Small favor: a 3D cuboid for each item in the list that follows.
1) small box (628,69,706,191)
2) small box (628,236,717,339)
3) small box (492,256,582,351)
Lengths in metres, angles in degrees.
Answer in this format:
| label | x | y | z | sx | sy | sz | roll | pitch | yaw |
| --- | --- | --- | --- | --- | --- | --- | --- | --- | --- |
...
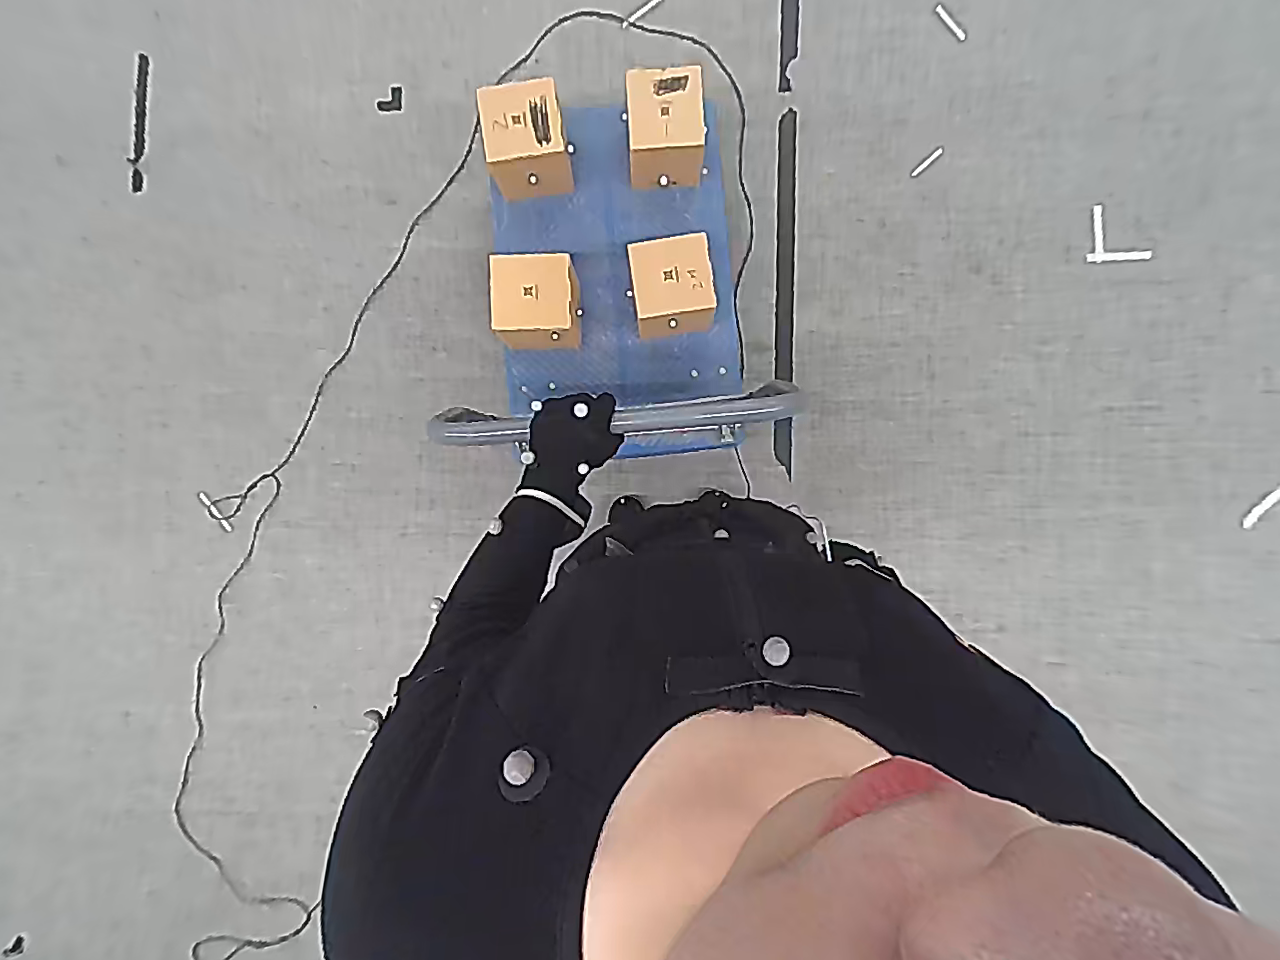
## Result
| label | x | y | z | sx | sy | sz | roll | pitch | yaw |
| --- | --- | --- | --- | --- | --- | --- | --- | --- | --- |
| small box | 0.058 | -0.801 | 1.251 | 0.168 | 0.176 | 0.179 | -3 | 91 | 1 |
| small box | 0.074 | -0.435 | 1.248 | 0.179 | 0.176 | 0.168 | -9 | 90 | 1 |
| small box | -0.234 | -0.401 | 1.254 | 0.179 | 0.176 | 0.168 | -2 | 89 | 0 |
